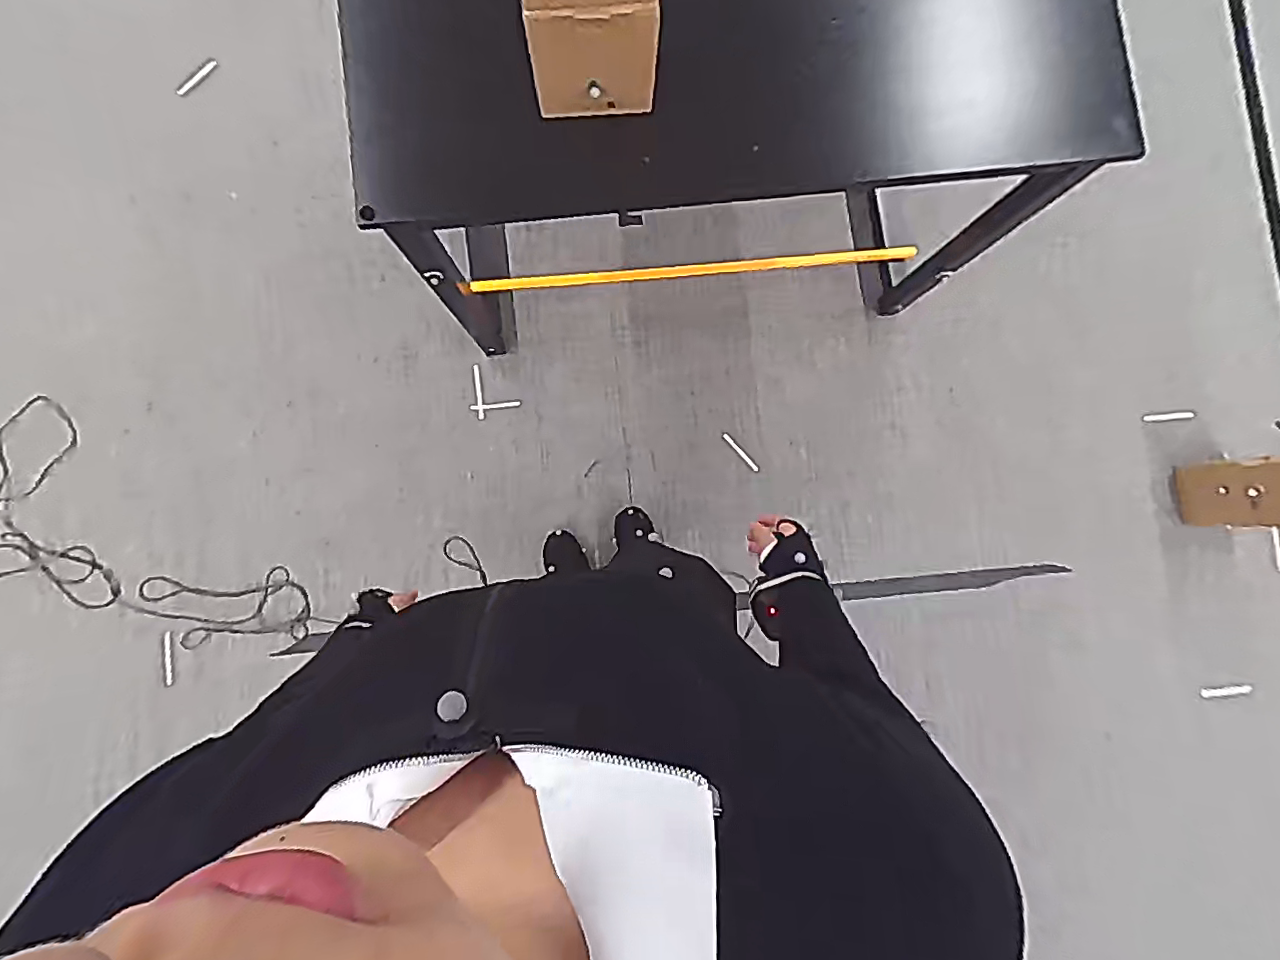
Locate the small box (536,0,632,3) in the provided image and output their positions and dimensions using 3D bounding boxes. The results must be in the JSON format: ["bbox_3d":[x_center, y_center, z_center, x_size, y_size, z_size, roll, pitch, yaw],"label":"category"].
[{"bbox_3d":[-0.069,-0.657,0.576,0.168,0.176,0.179,-8,87,-3],"label":"small box"}]

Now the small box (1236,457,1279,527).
[{"bbox_3d":[1.648,0.021,1.326,0.179,0.176,0.168,-10,85,-1],"label":"small box"}]

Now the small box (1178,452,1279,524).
[{"bbox_3d":[1.645,0.026,1.488,0.168,0.176,0.179,-8,87,-2],"label":"small box"}]

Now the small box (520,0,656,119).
[{"bbox_3d":[-0.072,-0.637,0.738,0.168,0.176,0.179,-5,86,-2],"label":"small box"}]
